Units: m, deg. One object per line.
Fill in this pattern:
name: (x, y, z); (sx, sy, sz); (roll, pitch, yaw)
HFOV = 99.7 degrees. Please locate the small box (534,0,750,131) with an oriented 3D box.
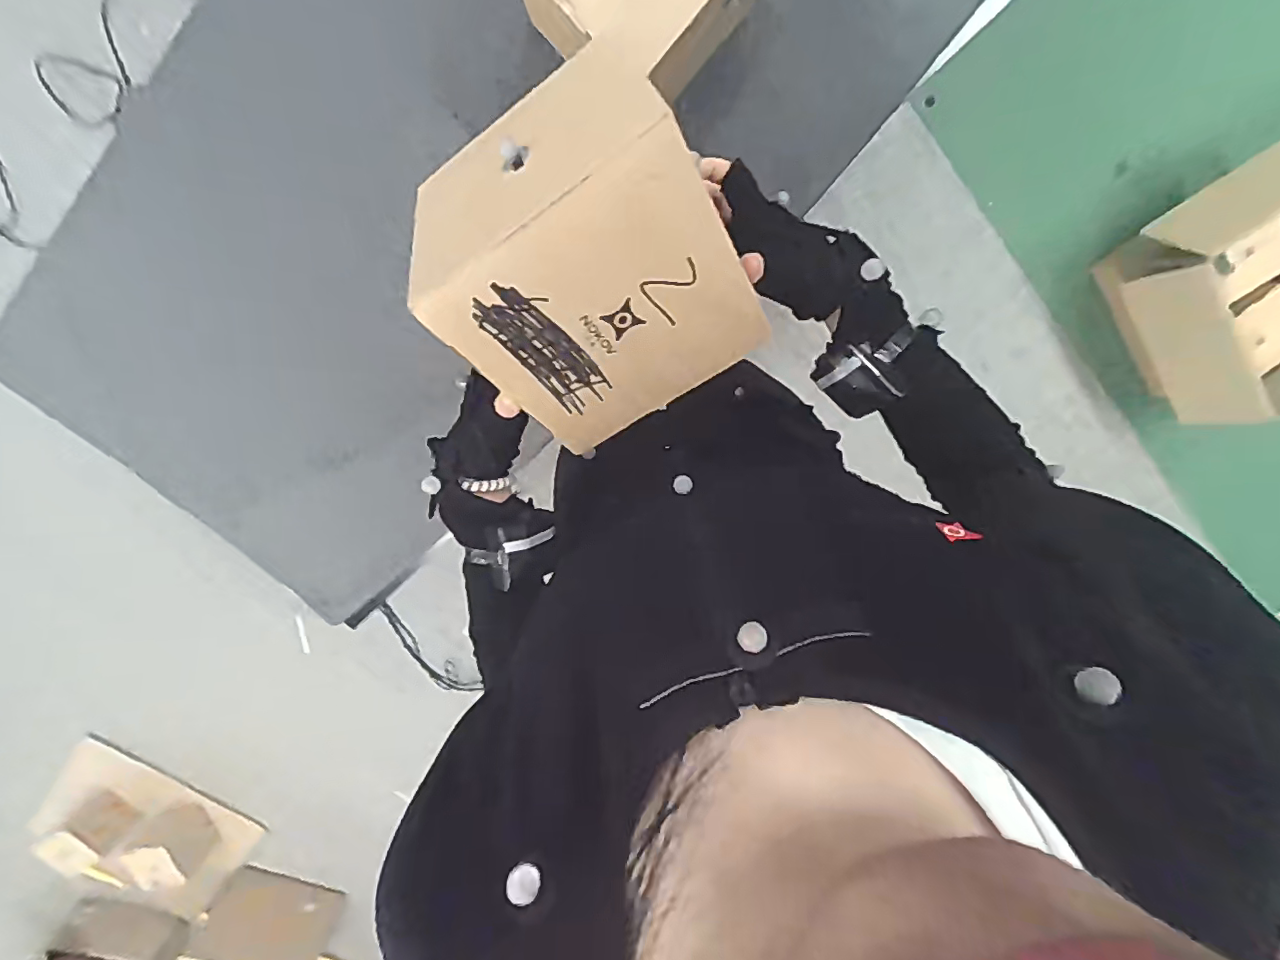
small box: (0.003, -0.476, 0.503); (0.168, 0.176, 0.179); (43, 105, -12)
